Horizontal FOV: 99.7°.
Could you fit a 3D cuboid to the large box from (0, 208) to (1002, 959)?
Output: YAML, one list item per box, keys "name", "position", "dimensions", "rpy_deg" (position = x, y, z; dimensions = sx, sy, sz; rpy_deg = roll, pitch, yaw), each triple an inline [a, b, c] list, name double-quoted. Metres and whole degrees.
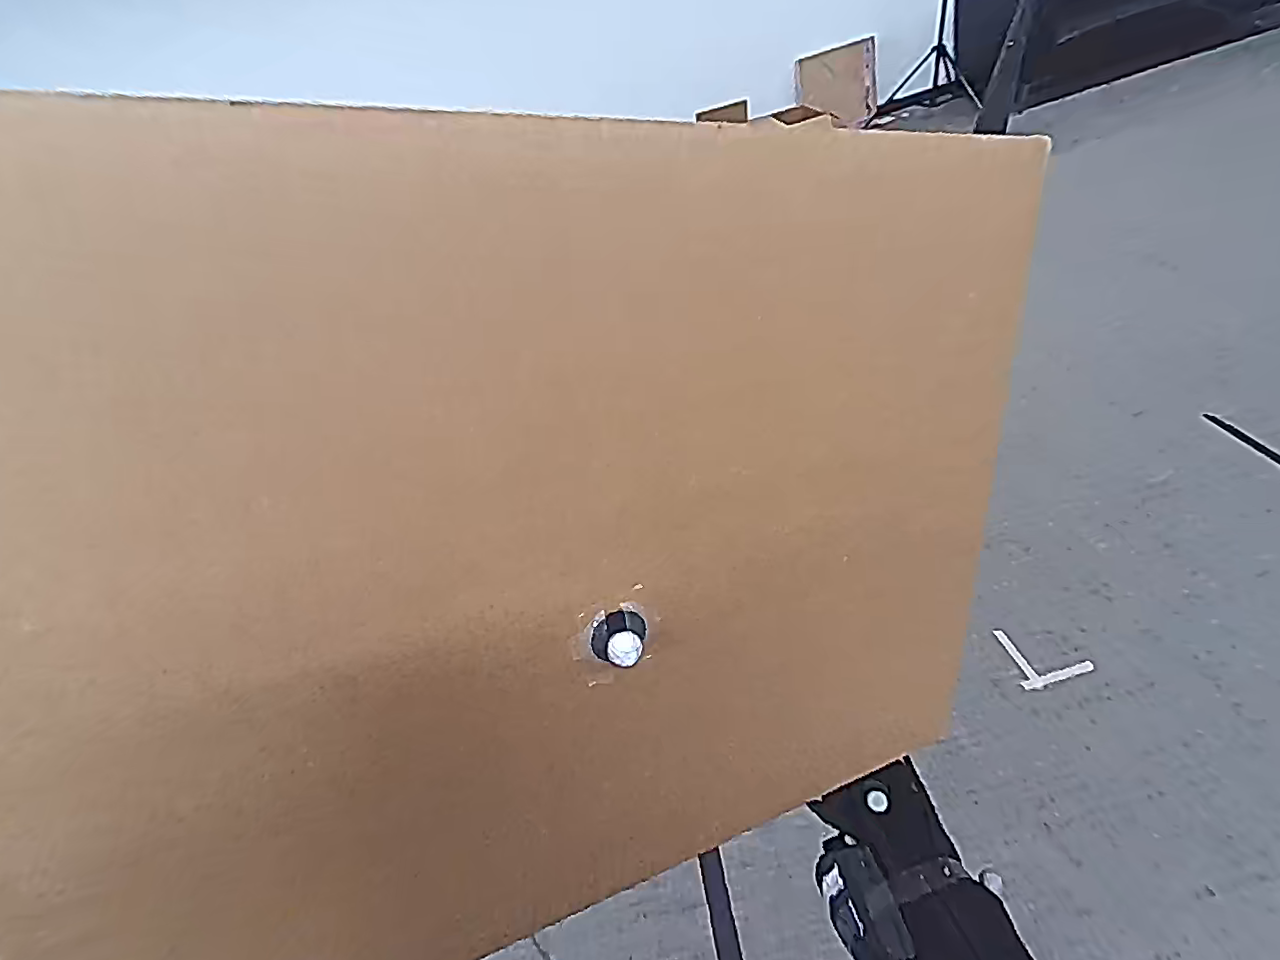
- name: "large box"
  position: [-0.061, 0.016, 0.354]
  dimensions: [0.408, 0.320, 0.320]
  rpy_deg: [-12, 21, -20]
